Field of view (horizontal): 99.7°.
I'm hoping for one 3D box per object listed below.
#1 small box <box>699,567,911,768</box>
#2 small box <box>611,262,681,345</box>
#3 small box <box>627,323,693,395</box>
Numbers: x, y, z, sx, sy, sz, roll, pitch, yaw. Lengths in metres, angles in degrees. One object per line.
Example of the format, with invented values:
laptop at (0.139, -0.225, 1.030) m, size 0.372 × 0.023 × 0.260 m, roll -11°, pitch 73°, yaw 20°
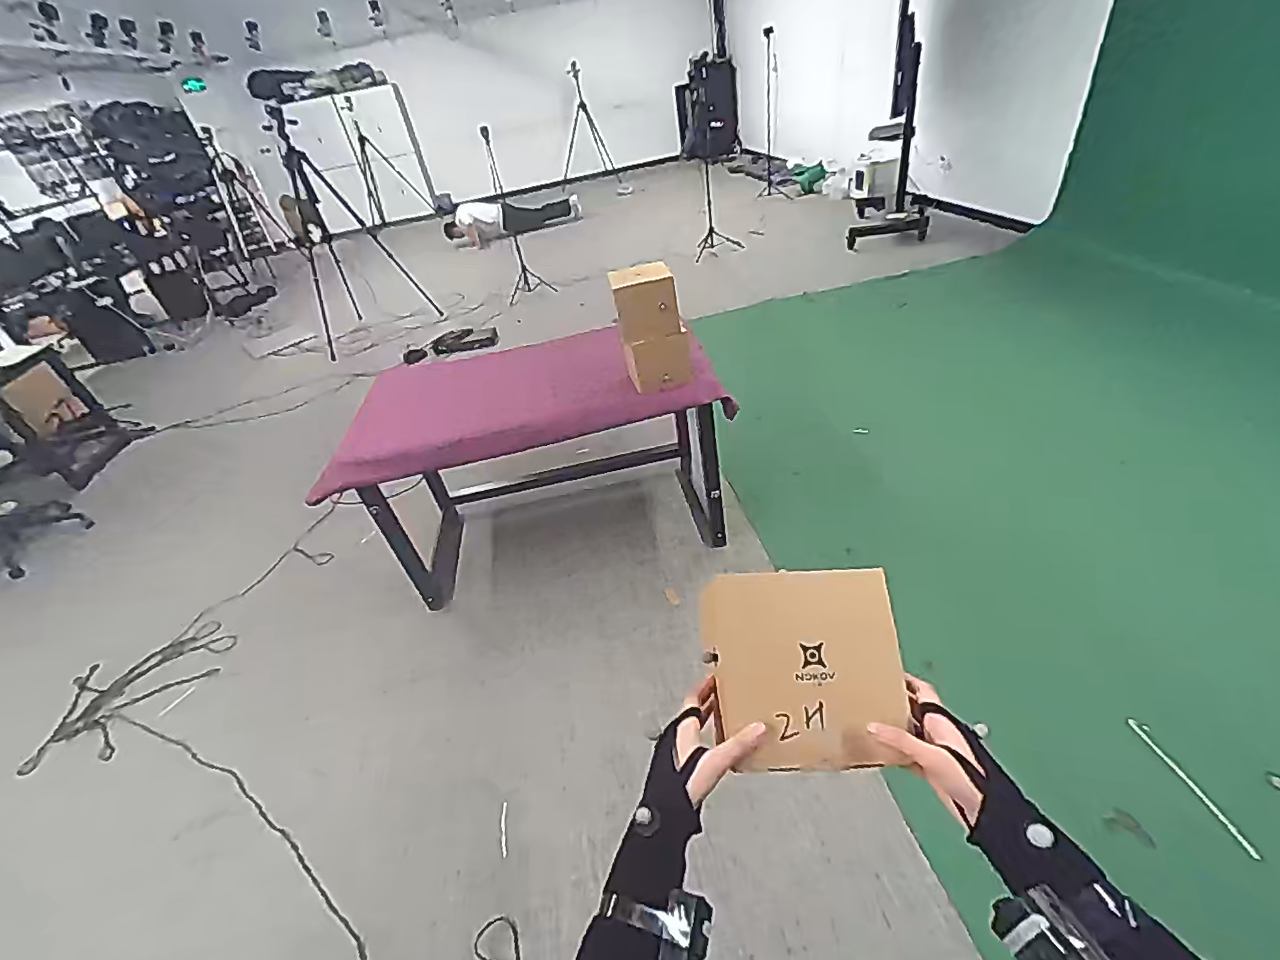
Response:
small box at (0.155, 0.195, 0.574) m, size 0.168 × 0.176 × 0.179 m, roll -2°, pitch 71°, yaw 0°
small box at (0.020, -0.518, 1.593) m, size 0.179 × 0.176 × 0.168 m, roll -13°, pitch 37°, yaw 1°
small box at (0.061, -0.389, 1.686) m, size 0.179 × 0.176 × 0.168 m, roll -16°, pitch 37°, yaw -4°
